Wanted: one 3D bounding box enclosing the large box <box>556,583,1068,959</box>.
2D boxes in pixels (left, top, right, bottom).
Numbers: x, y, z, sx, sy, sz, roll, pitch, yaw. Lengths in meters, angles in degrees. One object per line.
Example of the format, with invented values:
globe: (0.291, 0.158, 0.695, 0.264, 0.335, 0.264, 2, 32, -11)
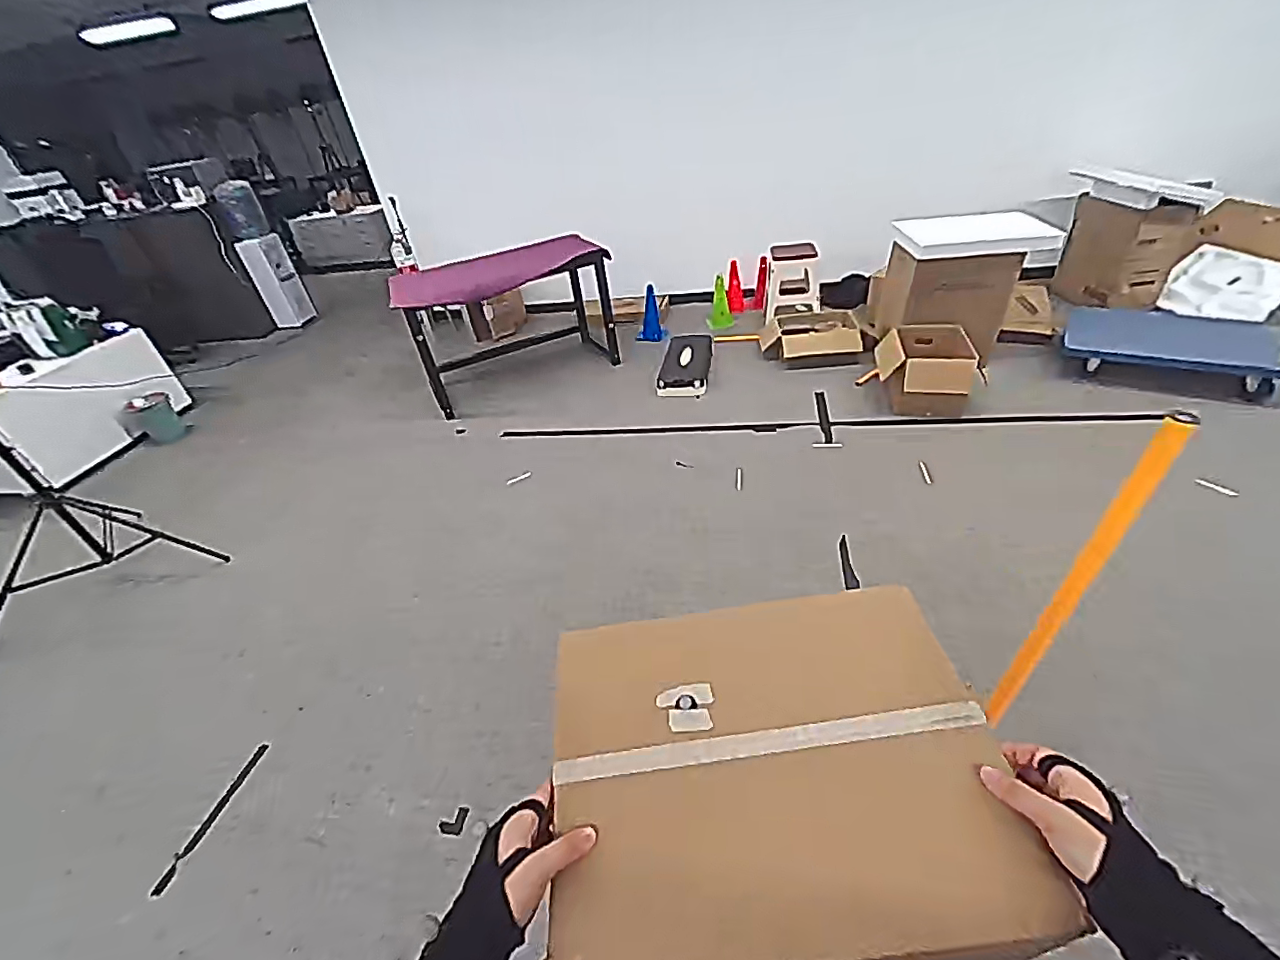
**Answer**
large box: (0.142, 0.363, 0.620, 0.408, 0.320, 0.320, -10, 40, 3)
